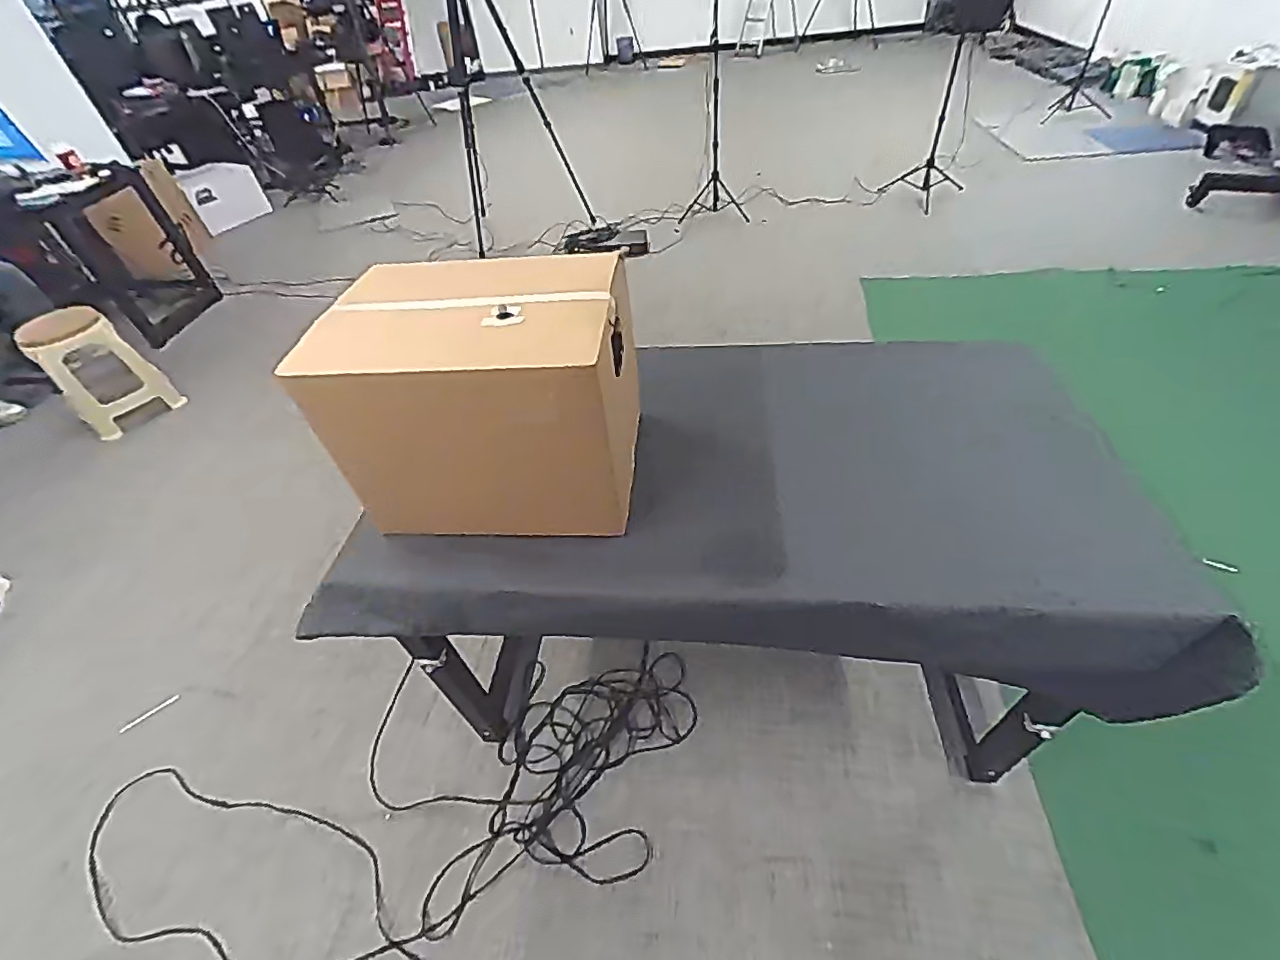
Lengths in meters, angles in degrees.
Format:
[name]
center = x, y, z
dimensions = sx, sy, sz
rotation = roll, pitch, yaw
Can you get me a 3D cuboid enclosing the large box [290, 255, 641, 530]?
[large box]
center = -0.215, -0.133, 0.849
dimensions = 0.408, 0.320, 0.320
rotation = 0, 46, 5
